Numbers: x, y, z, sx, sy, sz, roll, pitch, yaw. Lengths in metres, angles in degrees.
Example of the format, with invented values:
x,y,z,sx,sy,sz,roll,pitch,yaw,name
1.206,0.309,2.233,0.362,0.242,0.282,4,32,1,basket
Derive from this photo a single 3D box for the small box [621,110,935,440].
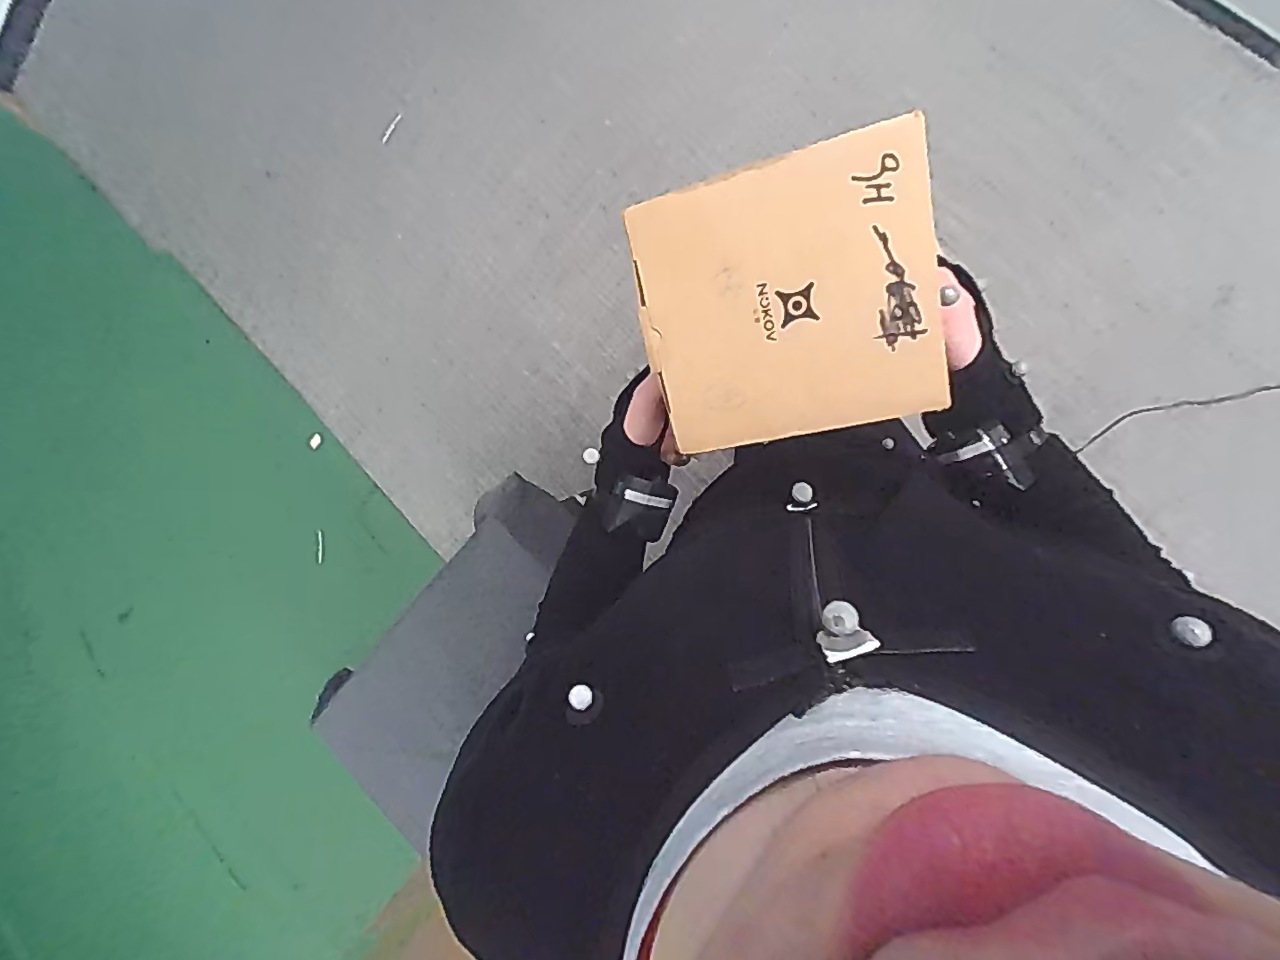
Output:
x,y,z,sx,sy,sz,roll,pitch,yaw,name
0.106,-0.138,0.409,0.179,0.176,0.168,-7,107,19,small box
